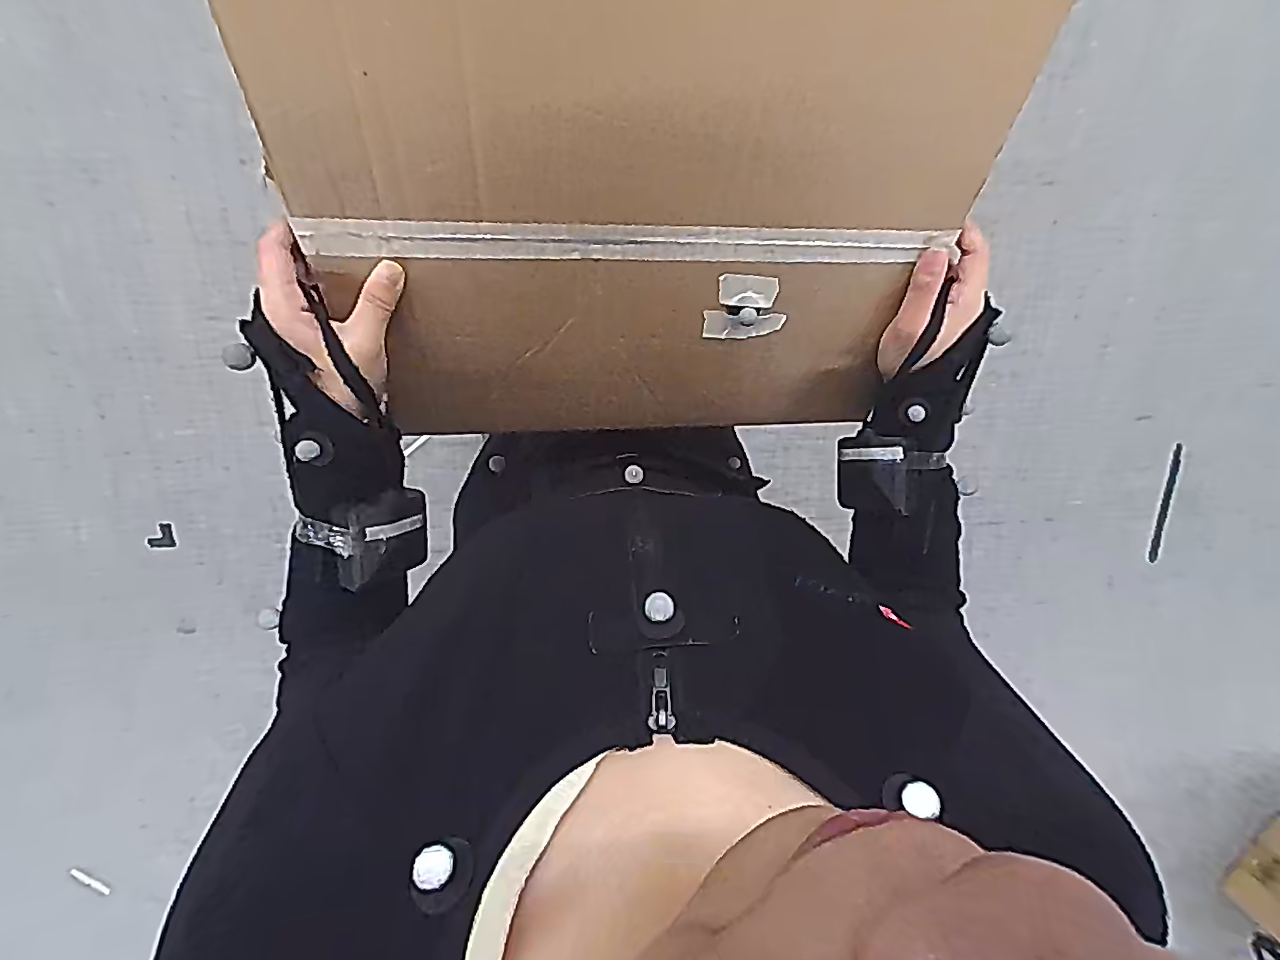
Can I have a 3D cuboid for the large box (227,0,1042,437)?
[{"bbox_3d":[-0.017,-0.261,0.442,0.408,0.320,0.320,-4,139,-9],"label":"large box"}]
